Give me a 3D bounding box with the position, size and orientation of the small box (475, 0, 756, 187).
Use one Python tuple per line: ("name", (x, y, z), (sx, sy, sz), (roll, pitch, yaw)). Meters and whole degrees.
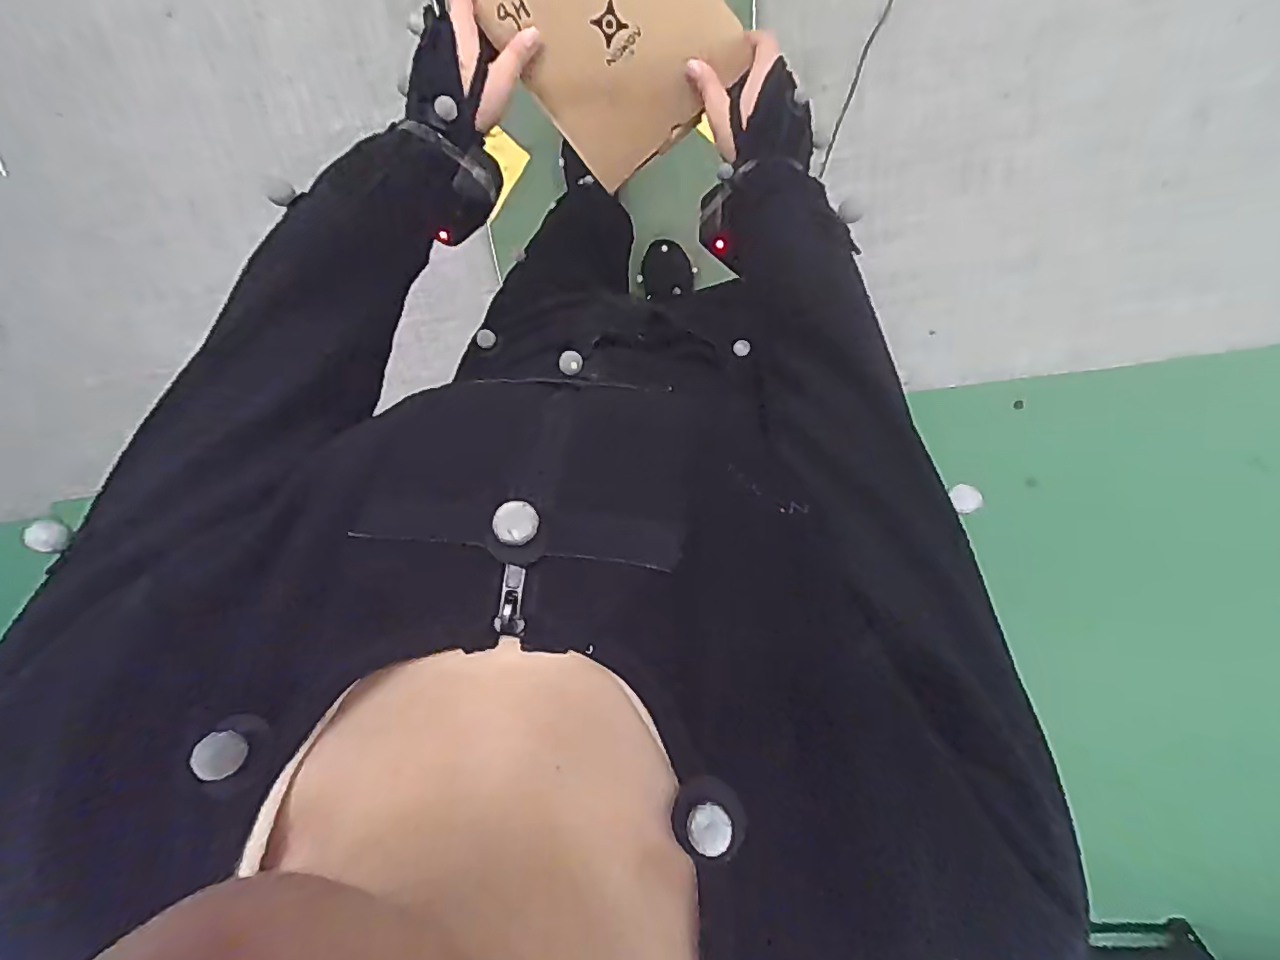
("small box", (-0.012, -0.418, 0.496), (0.168, 0.176, 0.179), (-29, 124, 27))
